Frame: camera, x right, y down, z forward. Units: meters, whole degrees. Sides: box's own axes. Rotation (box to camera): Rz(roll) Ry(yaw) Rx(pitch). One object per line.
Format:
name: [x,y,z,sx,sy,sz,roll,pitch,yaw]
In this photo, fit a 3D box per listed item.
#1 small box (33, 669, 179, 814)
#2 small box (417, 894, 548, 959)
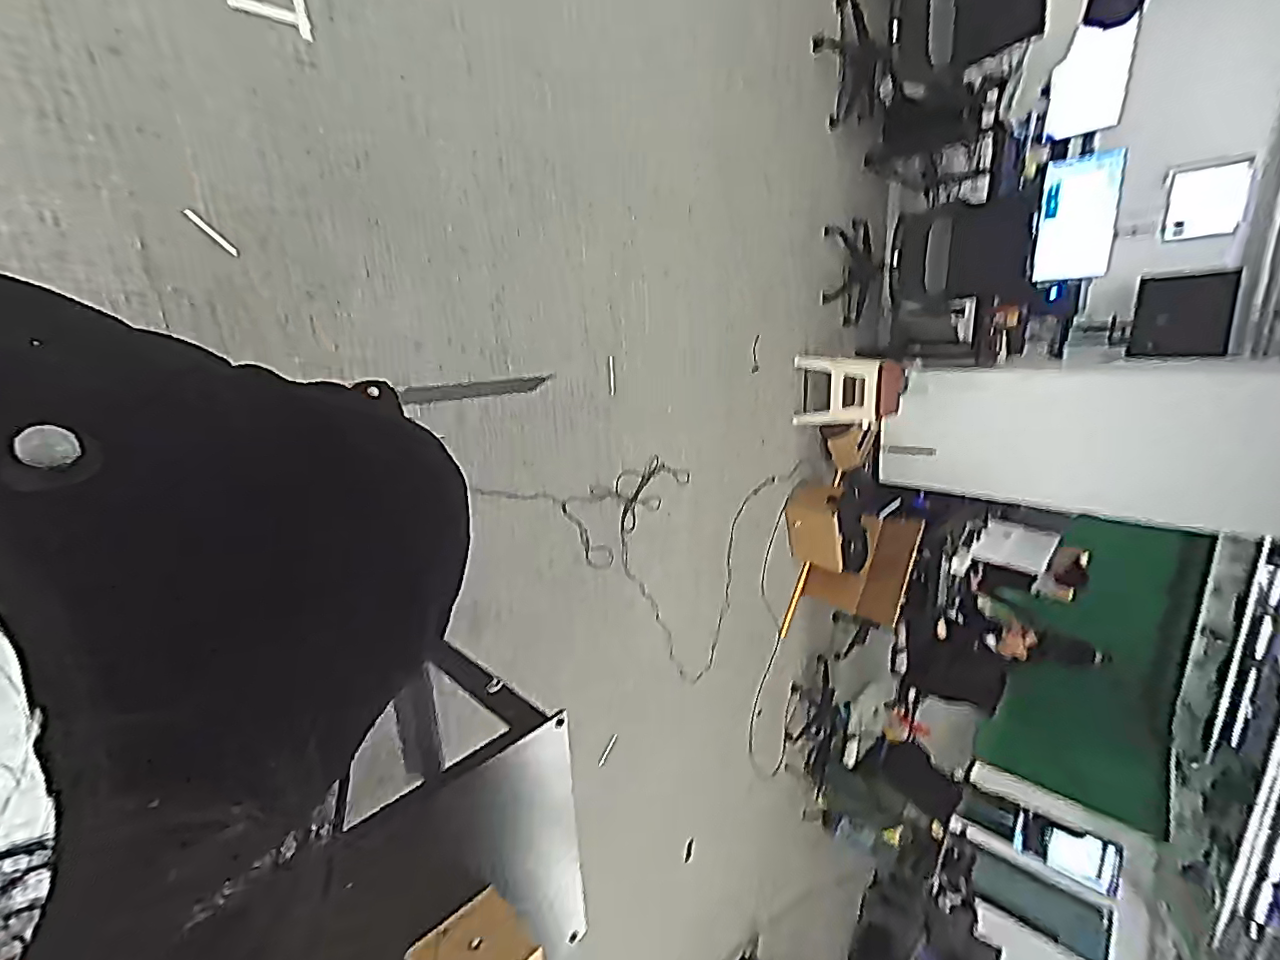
small box: [-1.079,0.517,1.098,0.179,0.176,0.168,-19,112,-44]
small box: [-0.274,0.883,0.949,0.168,0.176,0.179,-14,108,-44]
